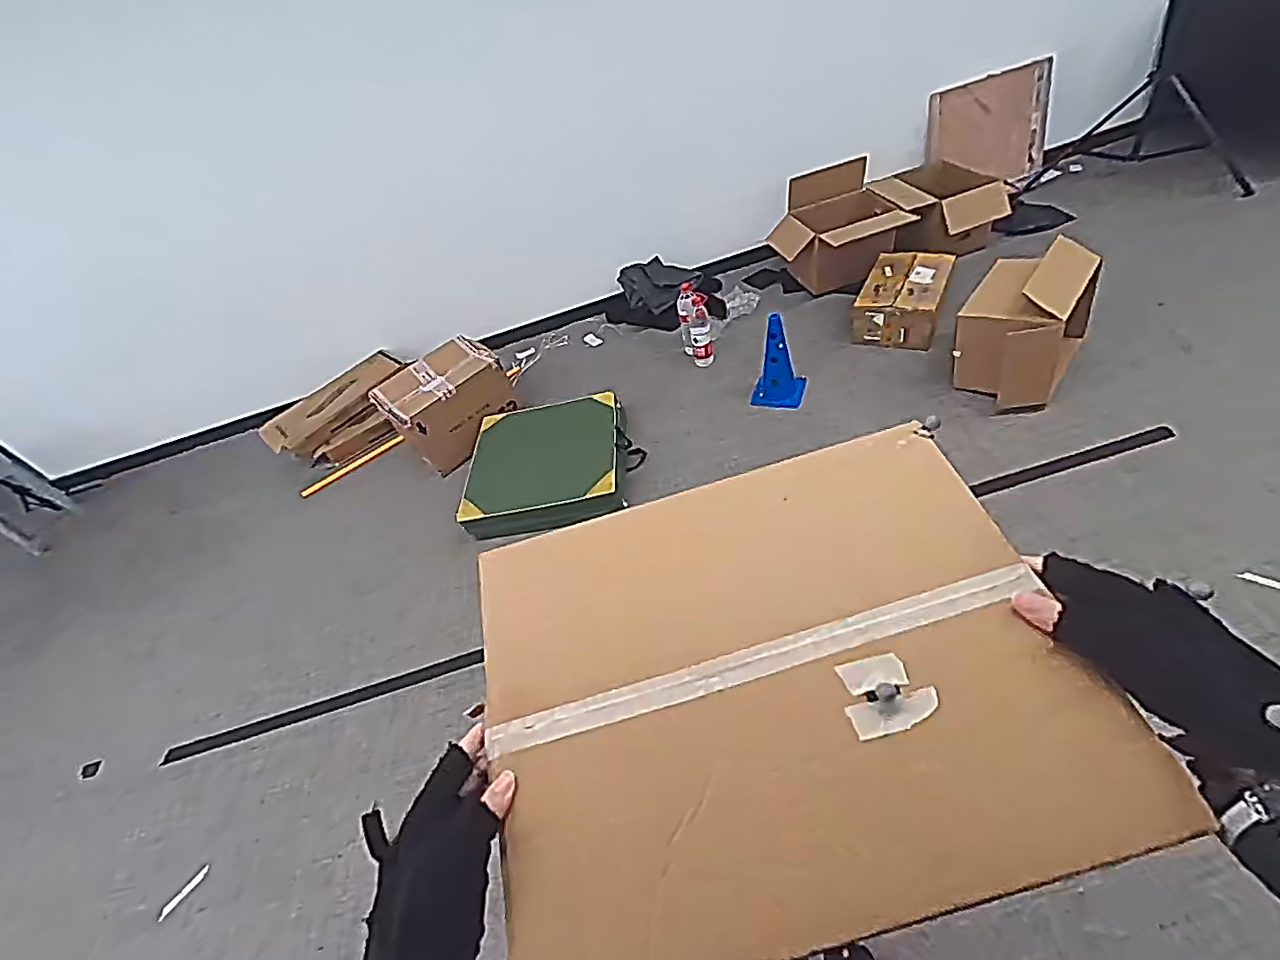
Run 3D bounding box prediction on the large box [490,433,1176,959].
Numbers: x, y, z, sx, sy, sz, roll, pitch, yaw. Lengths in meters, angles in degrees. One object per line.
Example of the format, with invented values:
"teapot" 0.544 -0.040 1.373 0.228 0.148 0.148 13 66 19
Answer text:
"large box" 0.115 0.218 0.520 0.408 0.320 0.320 -17 55 -1
